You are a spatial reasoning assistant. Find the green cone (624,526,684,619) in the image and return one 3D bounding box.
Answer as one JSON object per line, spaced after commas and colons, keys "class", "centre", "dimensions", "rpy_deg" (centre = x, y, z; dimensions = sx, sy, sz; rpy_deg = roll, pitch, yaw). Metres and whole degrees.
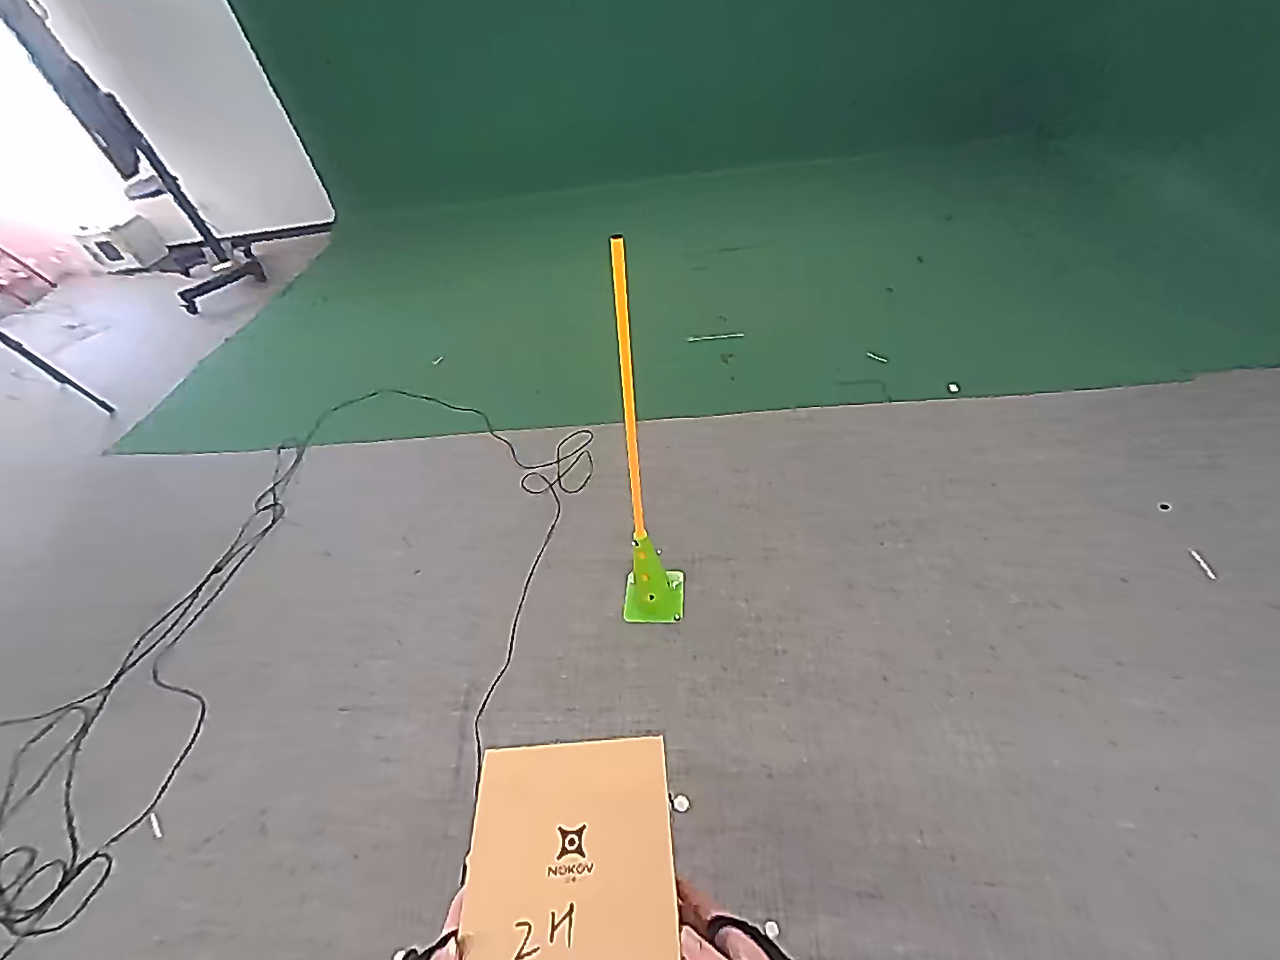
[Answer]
{"class": "green cone", "centre": [0.023, 0.273, 1.747], "dimensions": [0.202, 0.368, 0.200], "rpy_deg": [-3, 46, 10]}
